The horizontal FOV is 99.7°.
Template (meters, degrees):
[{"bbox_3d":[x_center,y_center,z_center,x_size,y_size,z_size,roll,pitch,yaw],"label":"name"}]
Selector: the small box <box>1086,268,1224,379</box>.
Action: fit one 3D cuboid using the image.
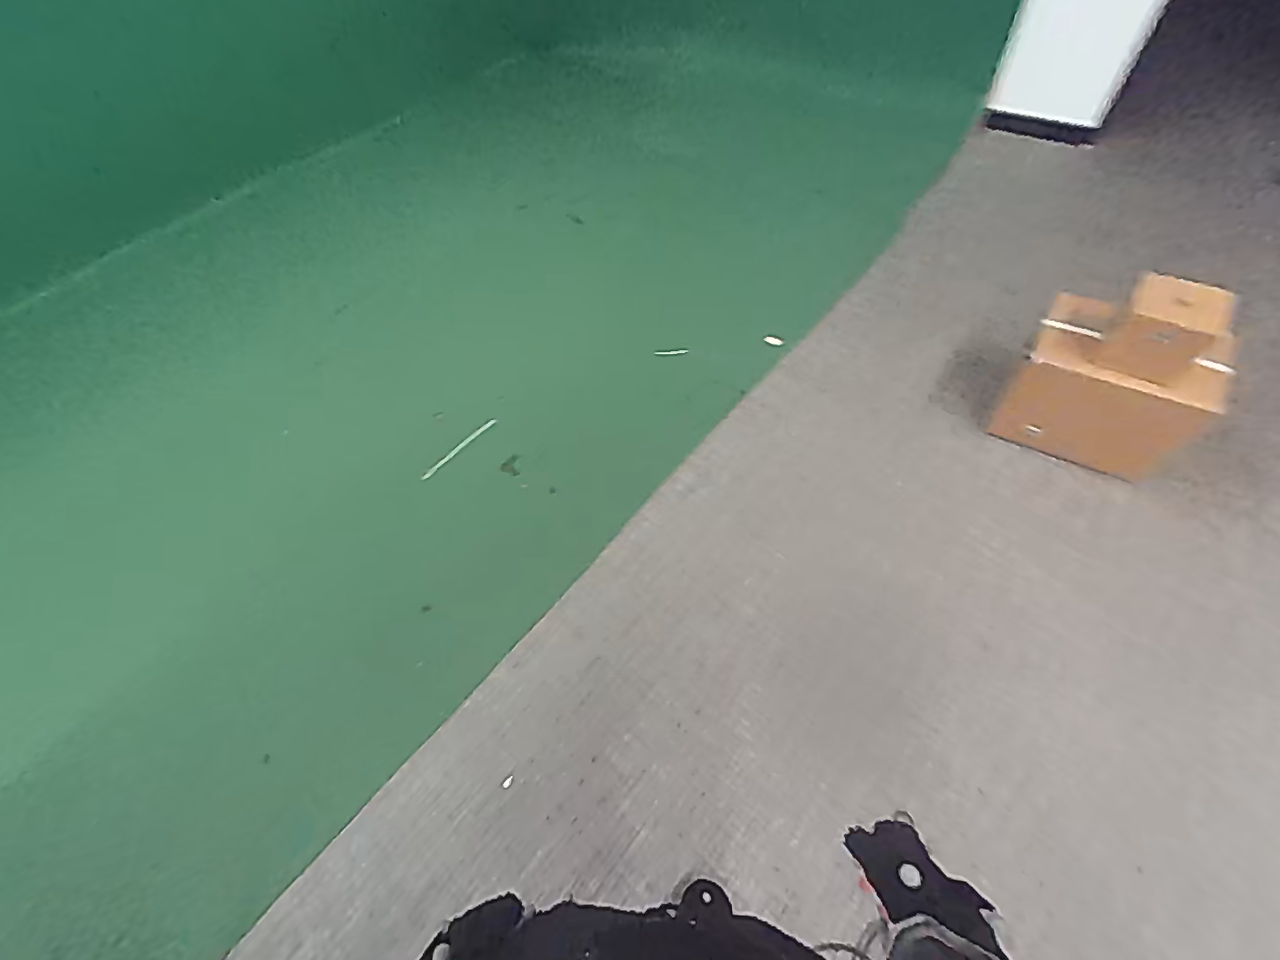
[{"bbox_3d":[1.235,-0.375,1.310,0.179,0.176,0.168,28,66,22],"label":"small box"}]
